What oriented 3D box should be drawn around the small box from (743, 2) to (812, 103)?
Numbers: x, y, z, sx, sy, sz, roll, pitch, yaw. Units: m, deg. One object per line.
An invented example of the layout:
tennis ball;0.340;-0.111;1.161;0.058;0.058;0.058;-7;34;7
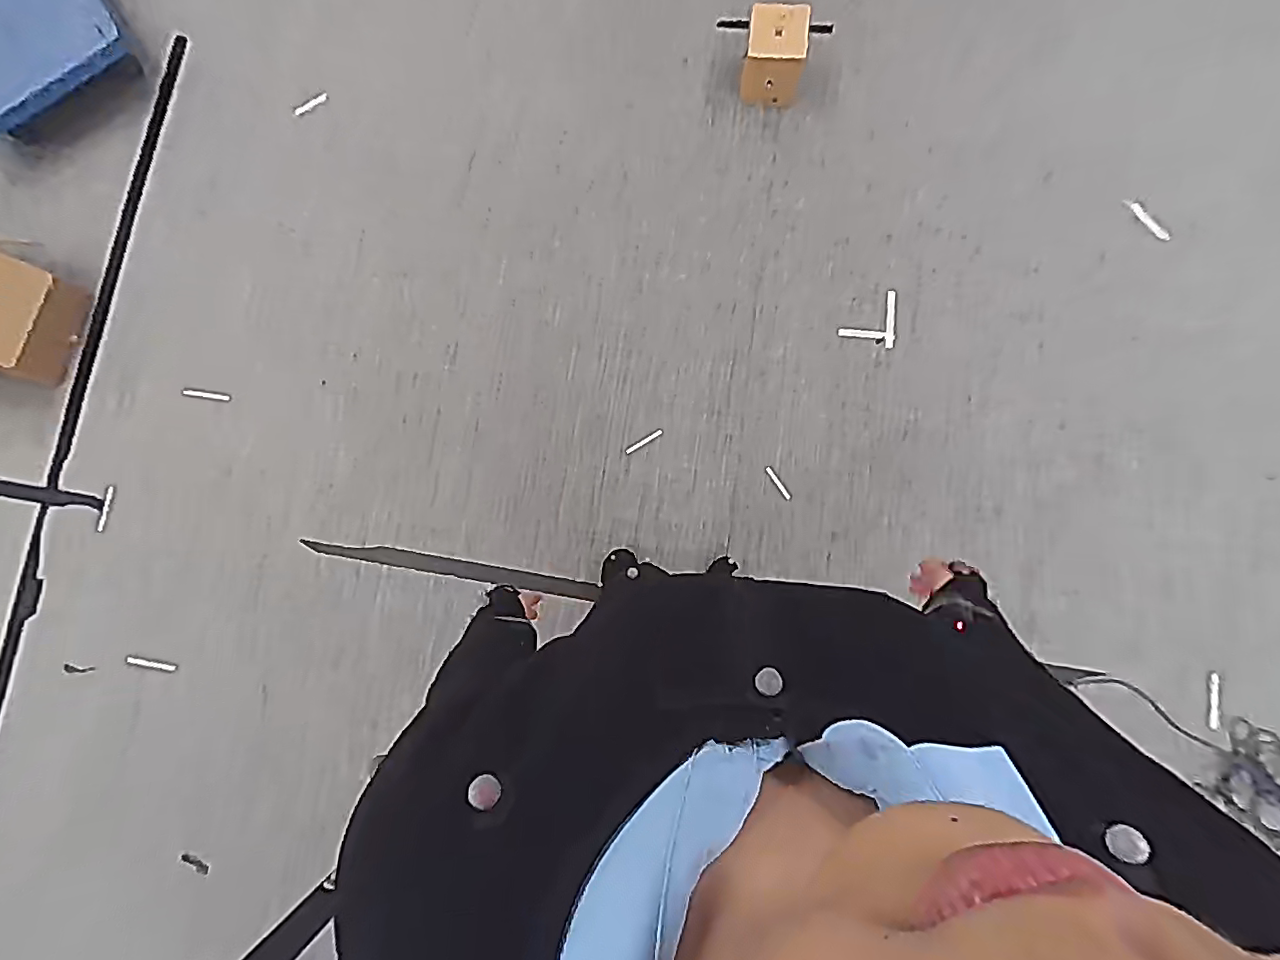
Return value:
small box;0.404;-1.261;1.606;0.168;0.176;0.179;6;82;4
